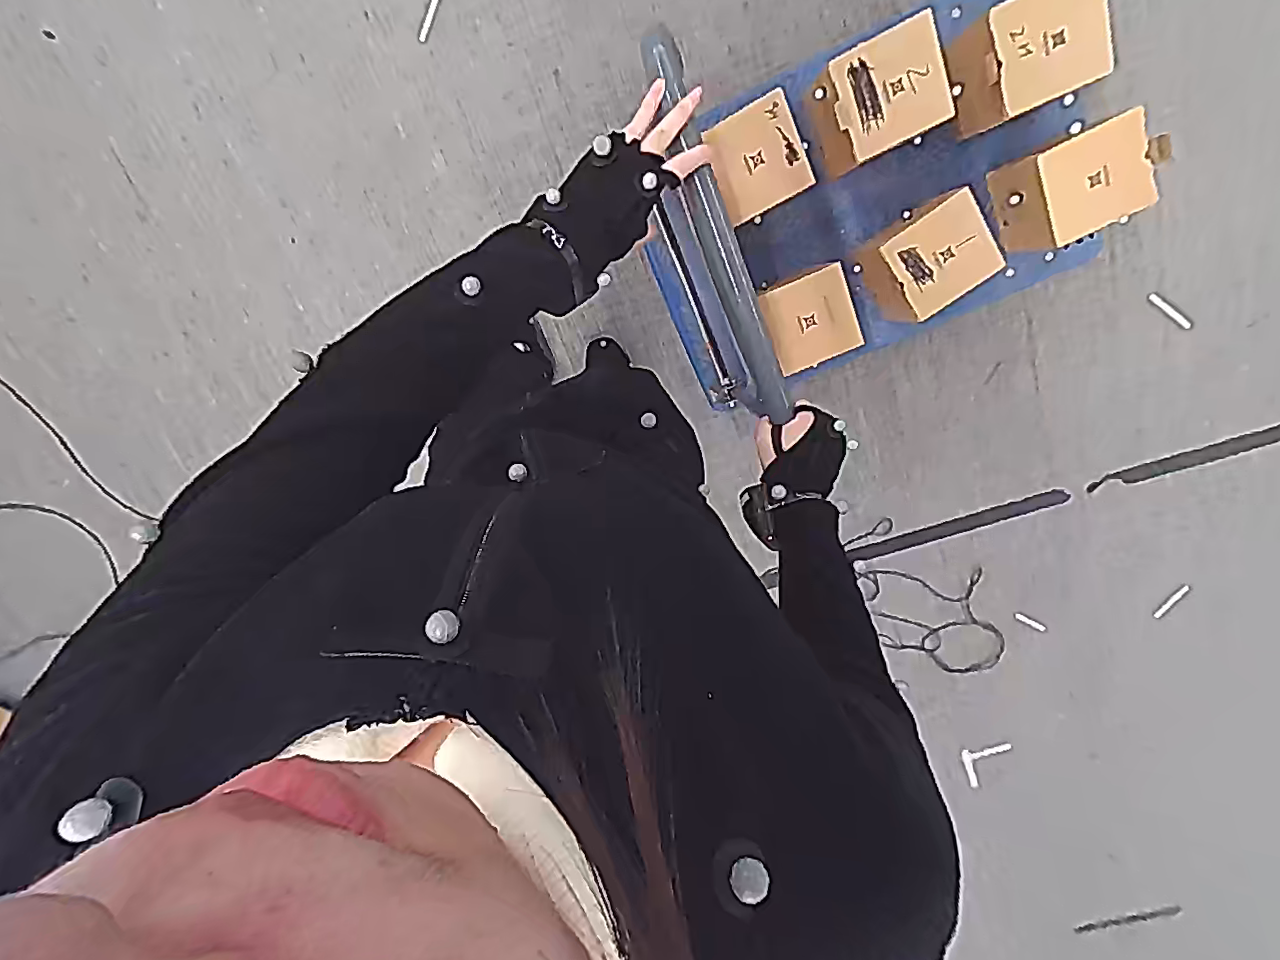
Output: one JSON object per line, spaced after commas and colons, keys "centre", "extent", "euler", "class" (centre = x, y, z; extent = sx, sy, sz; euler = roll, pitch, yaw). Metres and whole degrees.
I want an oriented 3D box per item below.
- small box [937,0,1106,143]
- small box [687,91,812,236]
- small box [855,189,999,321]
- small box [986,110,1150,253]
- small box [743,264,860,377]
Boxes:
{"centre": [0.669, -0.737, 0.963], "extent": [0.179, 0.176, 0.168], "euler": [-20, 107, 9], "class": "small box"}
{"centre": [0.199, -0.586, 1.030], "extent": [0.179, 0.176, 0.168], "euler": [-25, 108, 10], "class": "small box"}
{"centre": [0.553, -0.435, 1.073], "extent": [0.179, 0.176, 0.168], "euler": [-34, 105, 12], "class": "small box"}
{"centre": [0.796, -0.550, 1.027], "extent": [0.179, 0.176, 0.168], "euler": [-25, 106, 10], "class": "small box"}
{"centre": [0.322, -0.329, 1.118], "extent": [0.179, 0.176, 0.168], "euler": [-22, 108, 8], "class": "small box"}
